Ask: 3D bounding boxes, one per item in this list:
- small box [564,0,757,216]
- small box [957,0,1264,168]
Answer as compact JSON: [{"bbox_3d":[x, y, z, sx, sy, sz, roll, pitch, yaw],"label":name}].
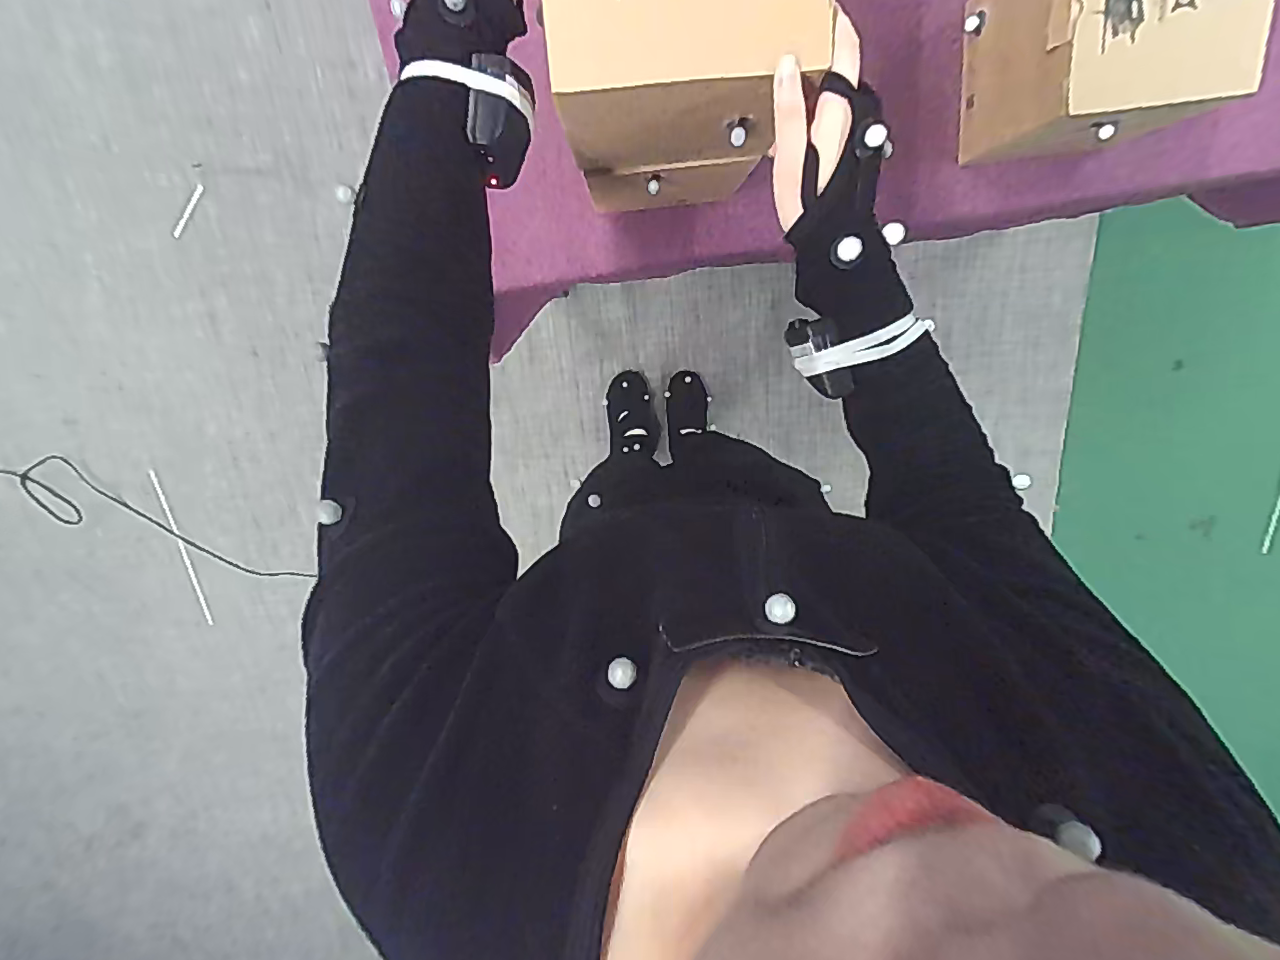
[{"bbox_3d":[0.018,-0.387,0.551,0.168,0.176,0.179,-5,106,1],"label":"small box"},{"bbox_3d":[0.452,-0.432,0.544,0.179,0.176,0.168,-6,107,1],"label":"small box"}]
